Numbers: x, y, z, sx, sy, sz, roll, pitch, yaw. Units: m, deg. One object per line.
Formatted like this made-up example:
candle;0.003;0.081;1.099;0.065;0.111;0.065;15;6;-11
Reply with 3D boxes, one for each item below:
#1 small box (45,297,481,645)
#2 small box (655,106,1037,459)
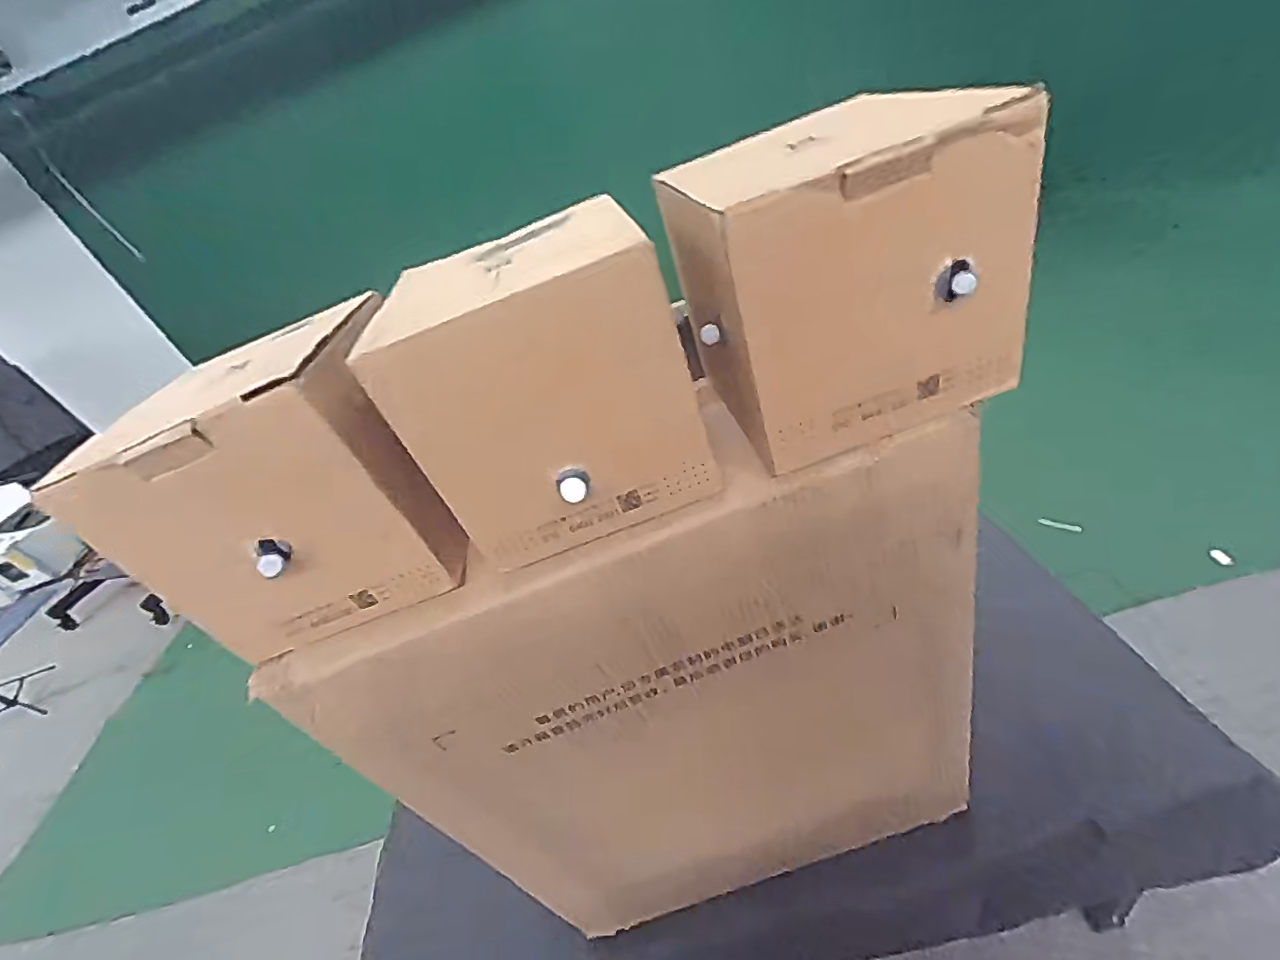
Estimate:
small box;-0.234;-0.003;0.400;0.168;0.176;0.179;-21;35;4
small box;0.125;-0.132;0.375;0.168;0.176;0.179;-19;34;0
